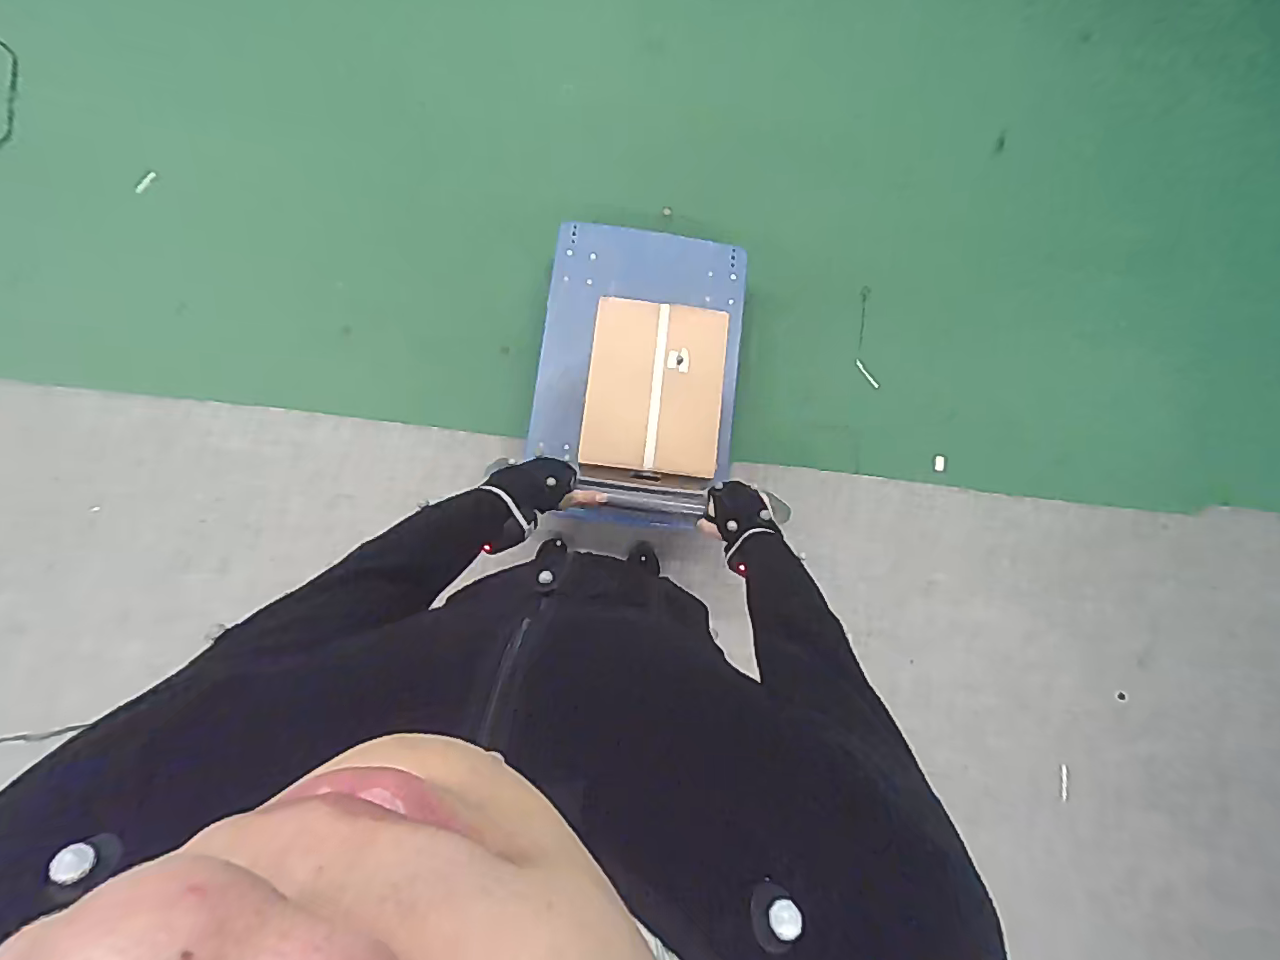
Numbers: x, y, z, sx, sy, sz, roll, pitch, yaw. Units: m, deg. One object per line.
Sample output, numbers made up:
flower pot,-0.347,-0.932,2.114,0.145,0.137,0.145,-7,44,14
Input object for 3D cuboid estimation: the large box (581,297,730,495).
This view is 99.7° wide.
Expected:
large box,0.032,-0.189,1.373,0.320,0.320,0.408,7,81,-4
